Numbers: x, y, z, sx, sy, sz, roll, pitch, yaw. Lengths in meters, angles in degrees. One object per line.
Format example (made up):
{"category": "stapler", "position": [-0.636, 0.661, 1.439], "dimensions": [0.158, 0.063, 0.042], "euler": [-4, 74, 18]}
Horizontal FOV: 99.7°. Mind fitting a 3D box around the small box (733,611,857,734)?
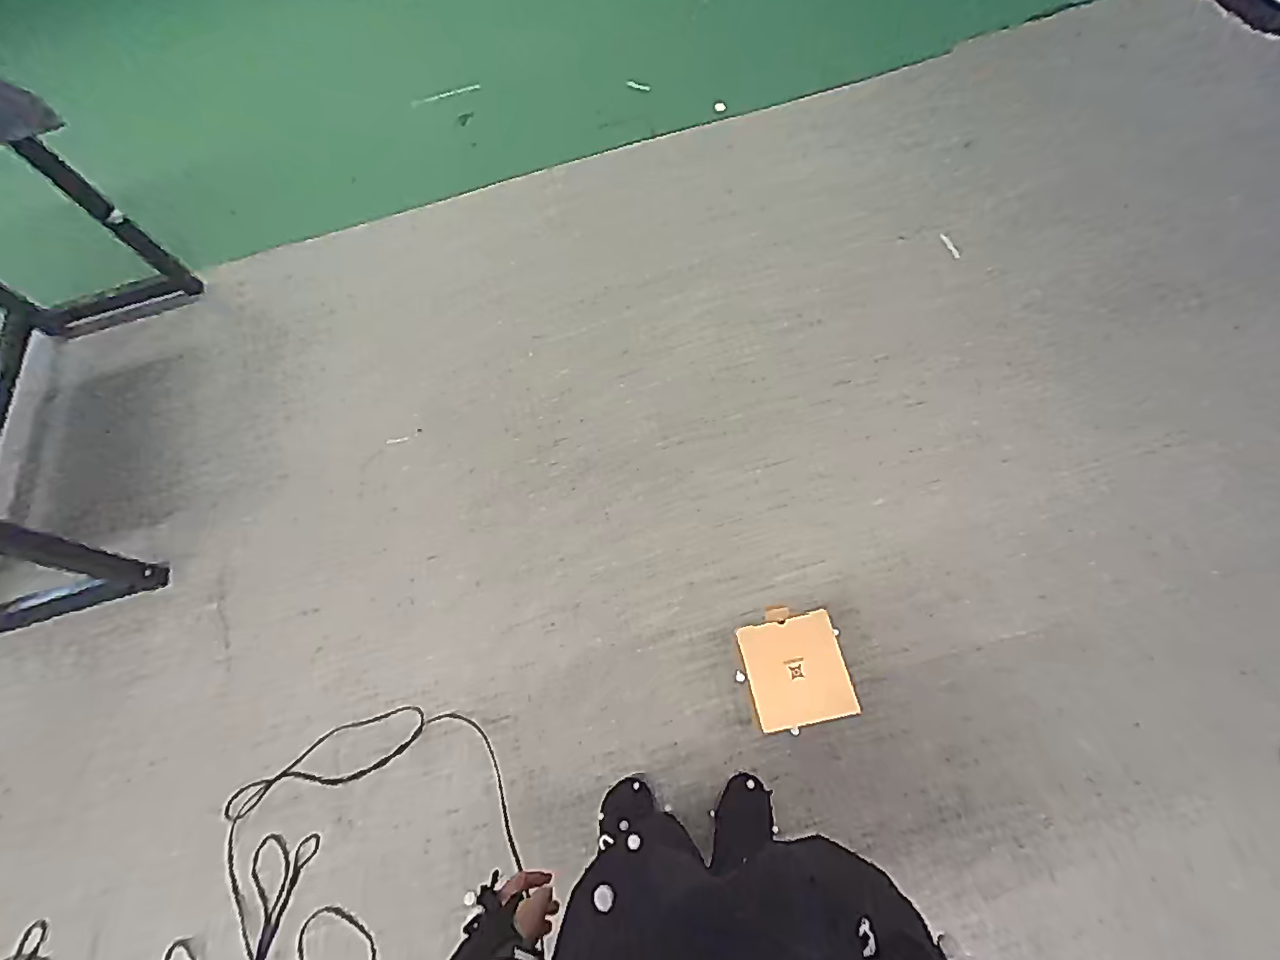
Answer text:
{"category": "small box", "position": [0.273, 0.356, 0.993], "dimensions": [0.168, 0.176, 0.179], "euler": [-13, 64, 1]}
